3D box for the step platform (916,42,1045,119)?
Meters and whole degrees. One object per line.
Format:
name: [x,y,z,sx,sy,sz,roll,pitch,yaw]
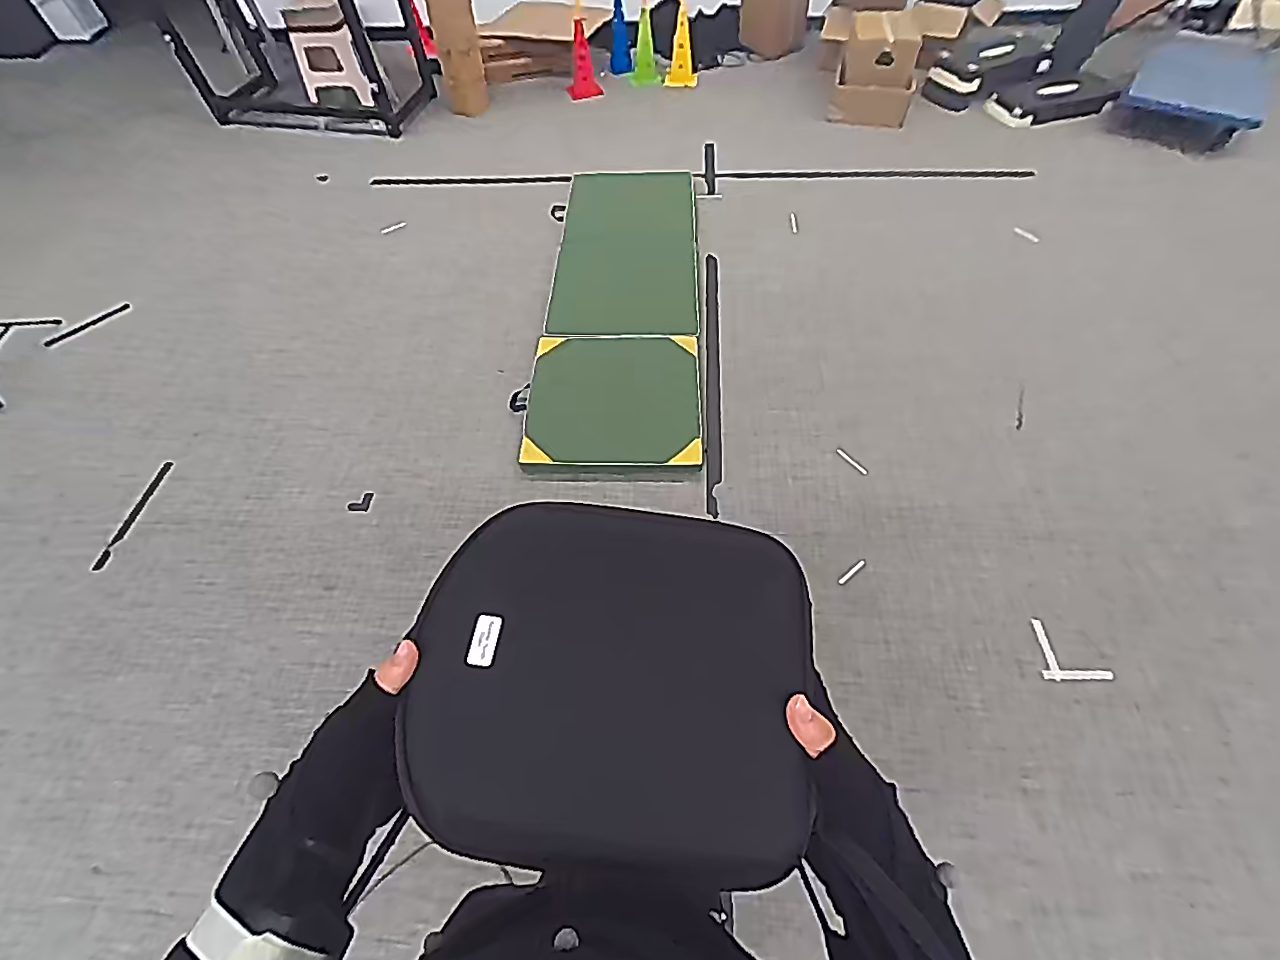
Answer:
step platform: [1.969,-2.315,3.124,0.684,0.204,0.286,-24,59,-13]
